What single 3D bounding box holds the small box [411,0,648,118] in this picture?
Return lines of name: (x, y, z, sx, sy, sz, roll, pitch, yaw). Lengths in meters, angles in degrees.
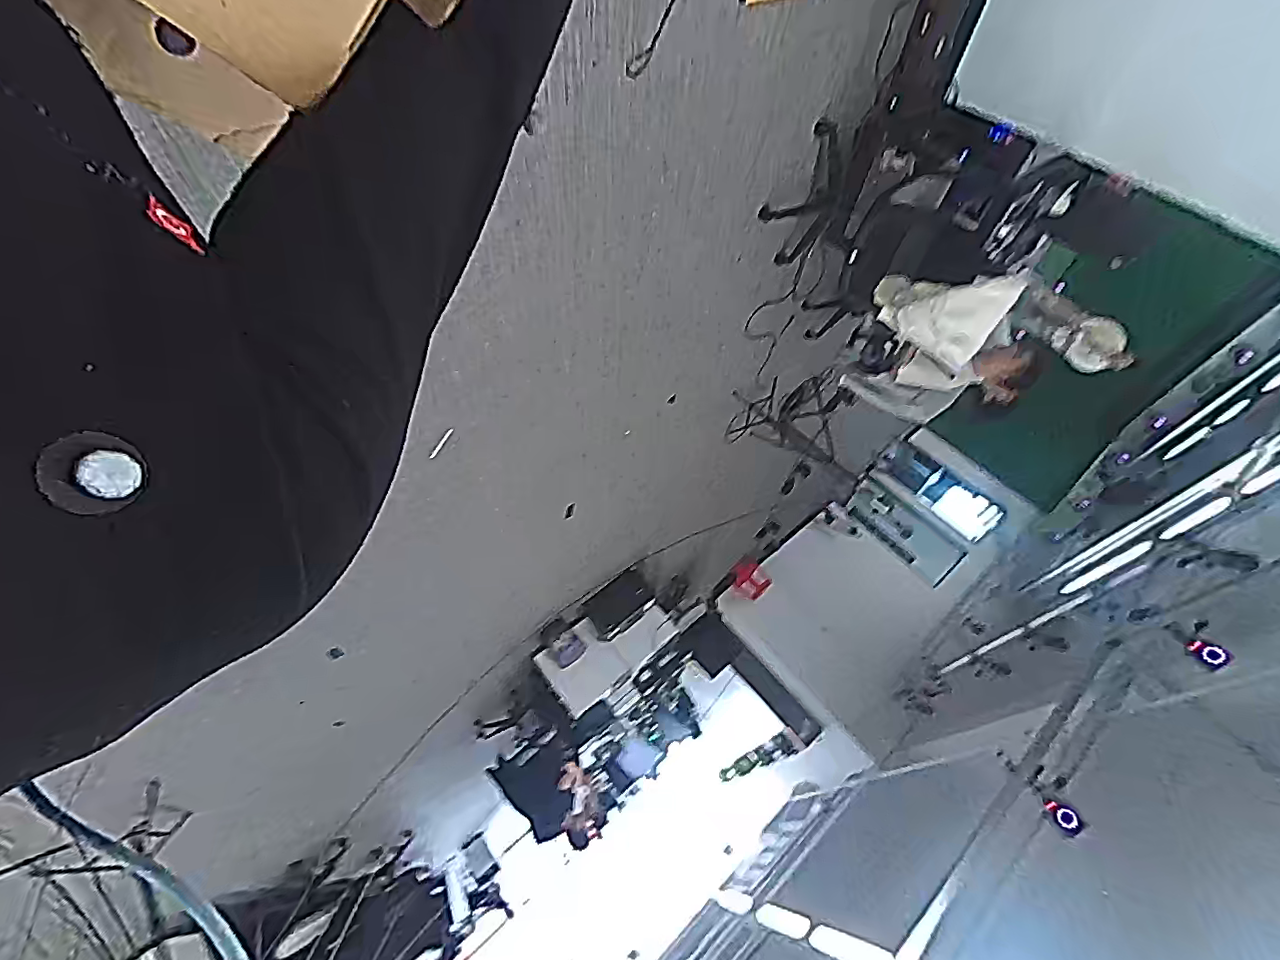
small box: (-0.069, -0.307, 0.222, 0.168, 0.176, 0.179, -36, 160, 7)
